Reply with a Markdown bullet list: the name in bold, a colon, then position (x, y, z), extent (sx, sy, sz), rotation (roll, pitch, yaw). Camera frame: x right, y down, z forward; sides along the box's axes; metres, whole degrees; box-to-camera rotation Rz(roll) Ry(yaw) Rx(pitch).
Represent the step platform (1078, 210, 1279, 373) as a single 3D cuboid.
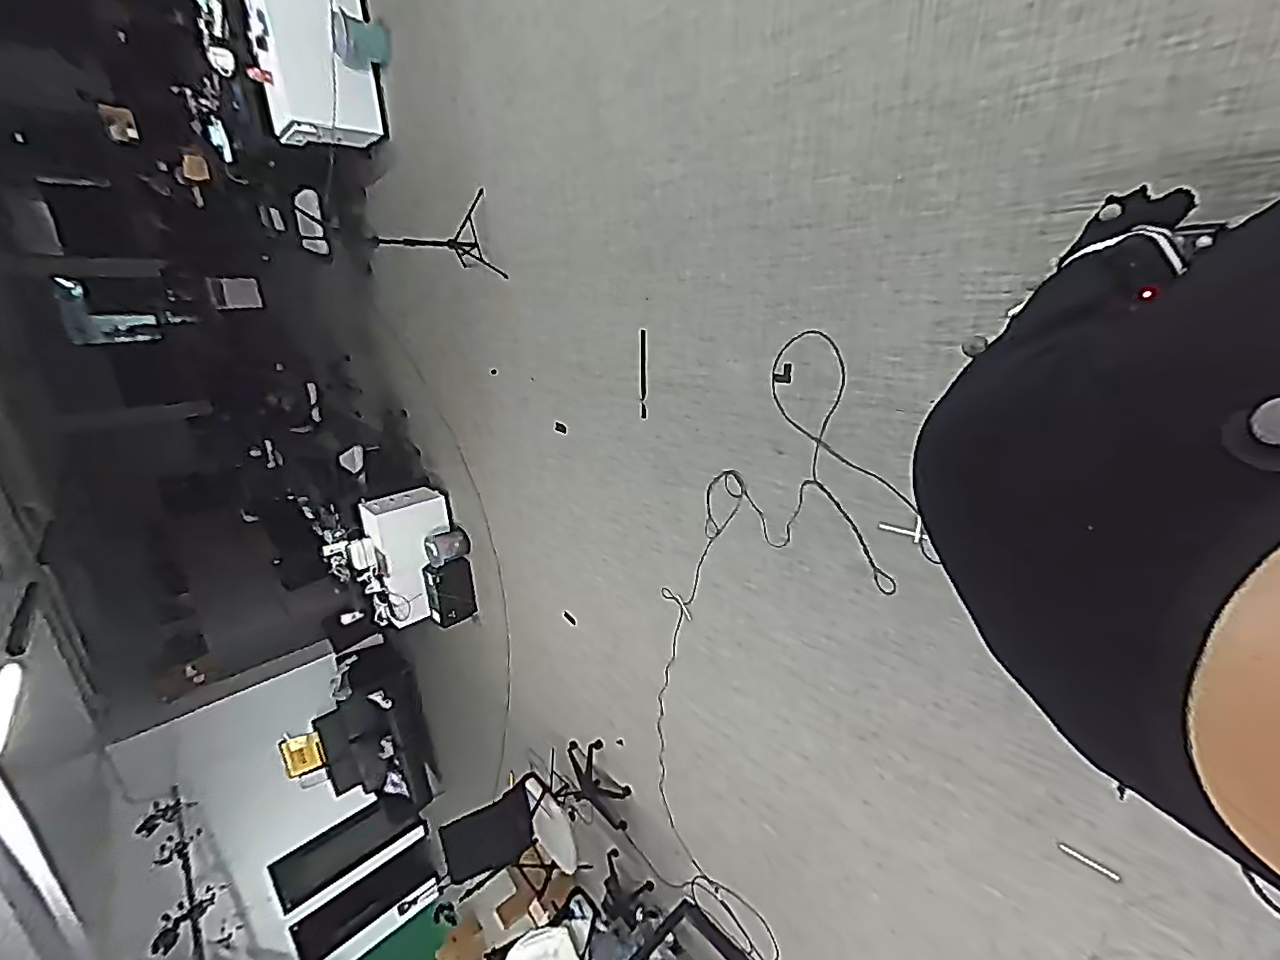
- **step platform**: position (1.227, -0.342, 0.970), extent (0.684, 0.204, 0.286), rotation (15, 116, 44)
